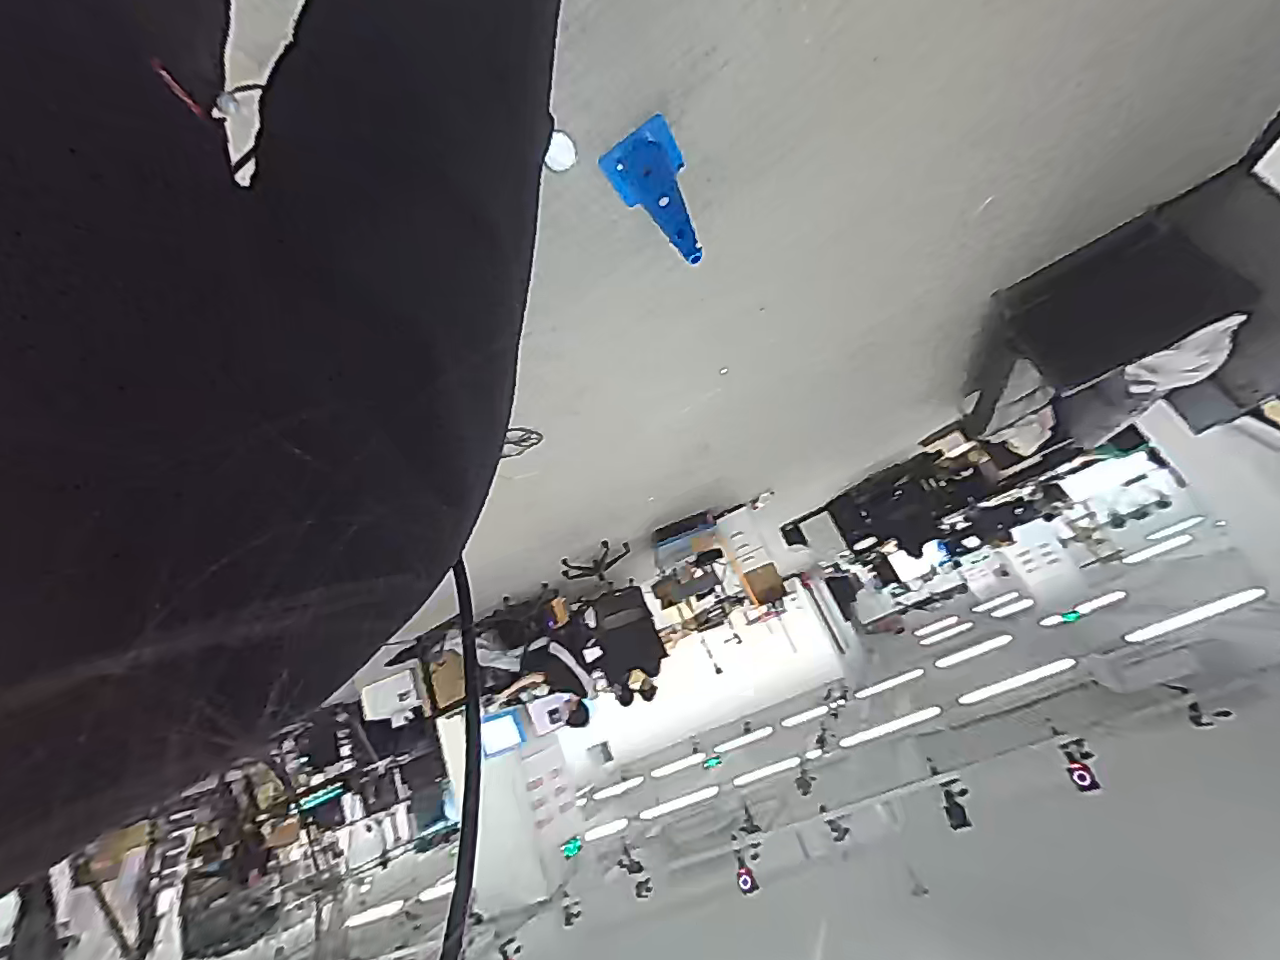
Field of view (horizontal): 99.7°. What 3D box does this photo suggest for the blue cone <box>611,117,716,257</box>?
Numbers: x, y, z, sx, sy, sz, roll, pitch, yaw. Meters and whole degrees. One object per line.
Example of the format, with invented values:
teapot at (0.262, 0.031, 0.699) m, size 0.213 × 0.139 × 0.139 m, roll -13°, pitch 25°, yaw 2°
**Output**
blue cone at (0.090, -0.708, 1.384) m, size 0.192 × 0.380 × 0.193 m, roll -31°, pitch 158°, yaw 16°
